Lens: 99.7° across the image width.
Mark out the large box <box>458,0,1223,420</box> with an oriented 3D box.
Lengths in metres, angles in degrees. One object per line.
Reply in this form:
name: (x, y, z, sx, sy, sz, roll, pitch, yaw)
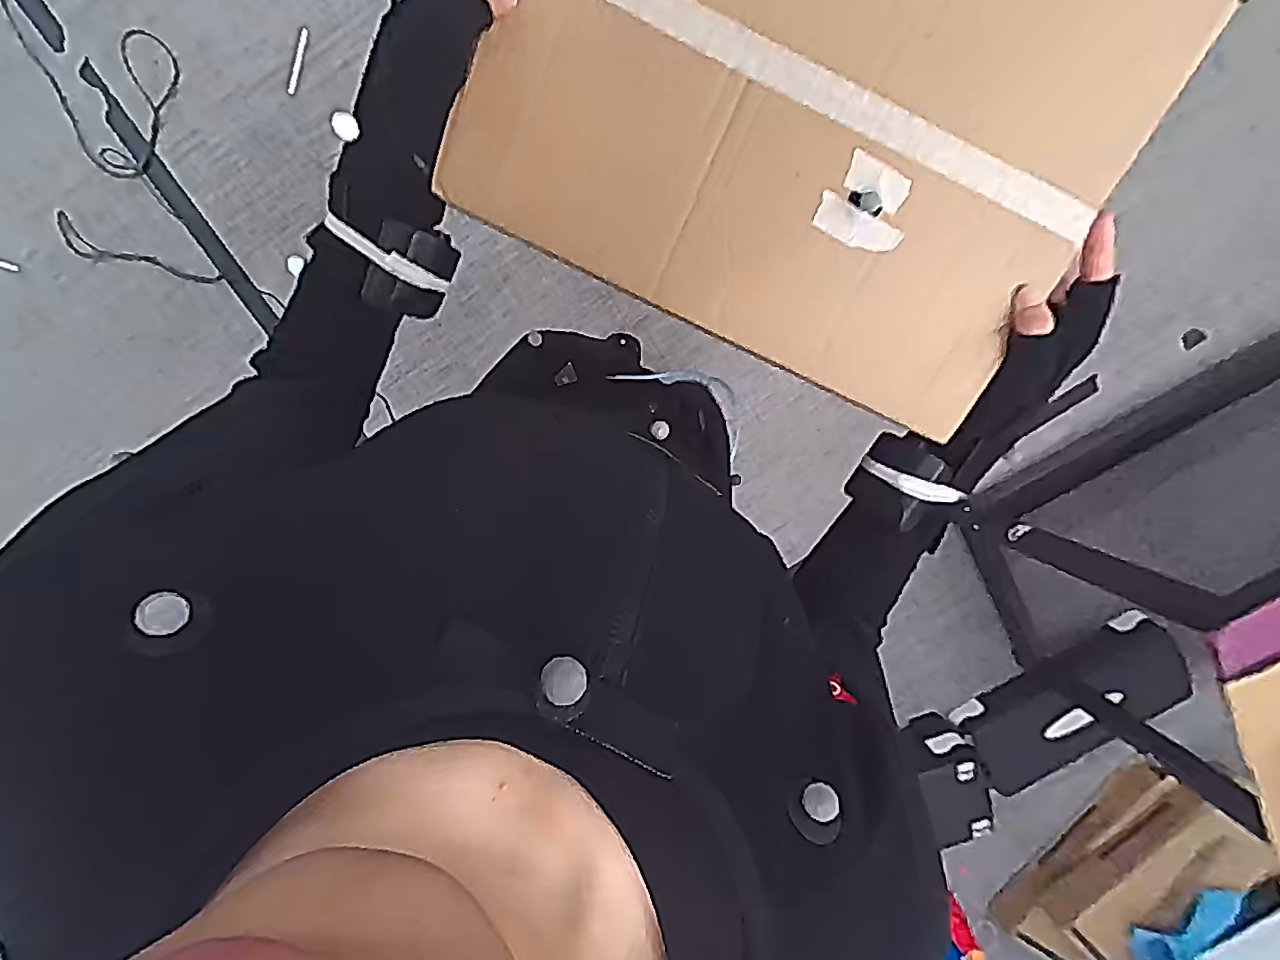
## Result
large box: (0.119, -0.299, 0.488, 0.408, 0.320, 0.320, 25, 109, -5)
